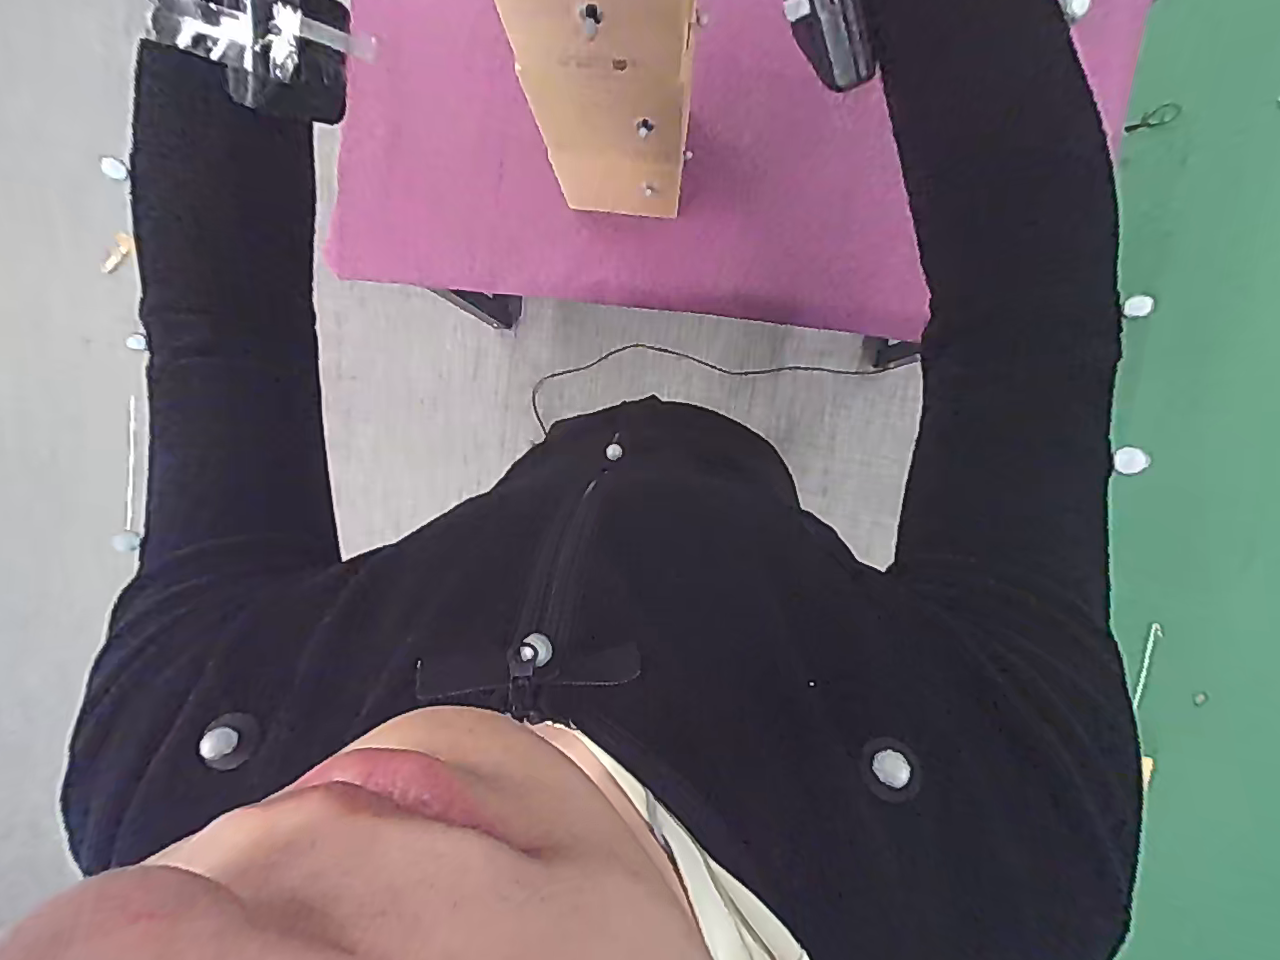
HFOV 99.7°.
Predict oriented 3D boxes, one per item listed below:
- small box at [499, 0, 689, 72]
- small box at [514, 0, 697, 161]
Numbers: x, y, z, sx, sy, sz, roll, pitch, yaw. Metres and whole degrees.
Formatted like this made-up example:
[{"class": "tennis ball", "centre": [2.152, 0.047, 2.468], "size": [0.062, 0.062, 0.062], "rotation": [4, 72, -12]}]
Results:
[{"class": "small box", "centre": [-0.036, -0.487, 0.454], "size": [0.168, 0.176, 0.179], "rotation": [6, 95, 2]}, {"class": "small box", "centre": [-0.029, -0.493, 0.617], "size": [0.179, 0.176, 0.168], "rotation": [7, 94, 2]}]
